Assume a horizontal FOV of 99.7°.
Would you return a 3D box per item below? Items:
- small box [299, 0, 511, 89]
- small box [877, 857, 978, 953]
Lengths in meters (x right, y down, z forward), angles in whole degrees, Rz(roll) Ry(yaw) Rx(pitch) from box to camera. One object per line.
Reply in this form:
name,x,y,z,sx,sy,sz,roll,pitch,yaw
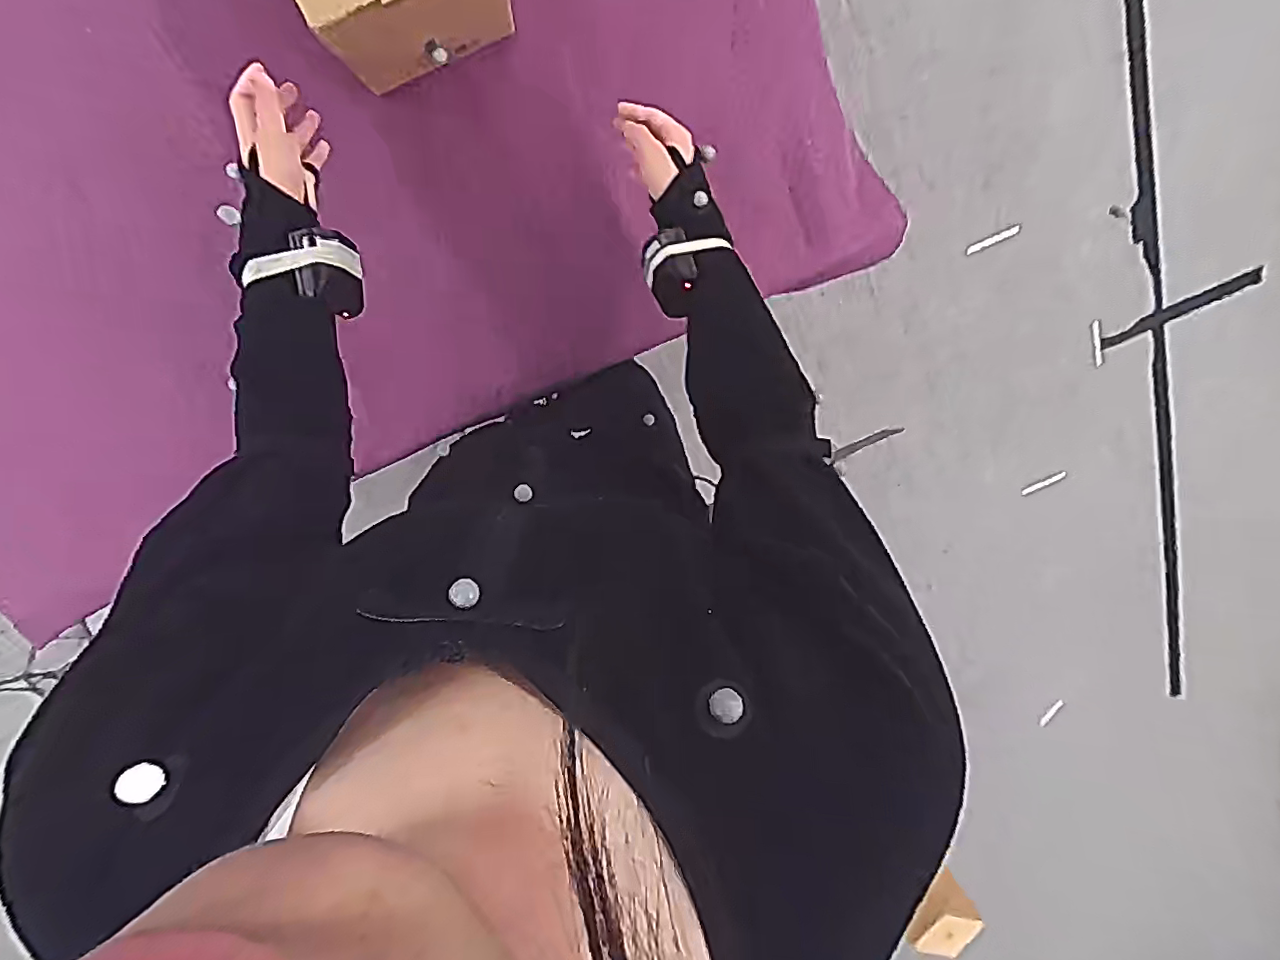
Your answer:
small box,-0.227,-0.490,0.470,0.168,0.176,0.179,-23,112,1
small box,0.879,1.305,1.668,0.179,0.176,0.168,23,105,-17
